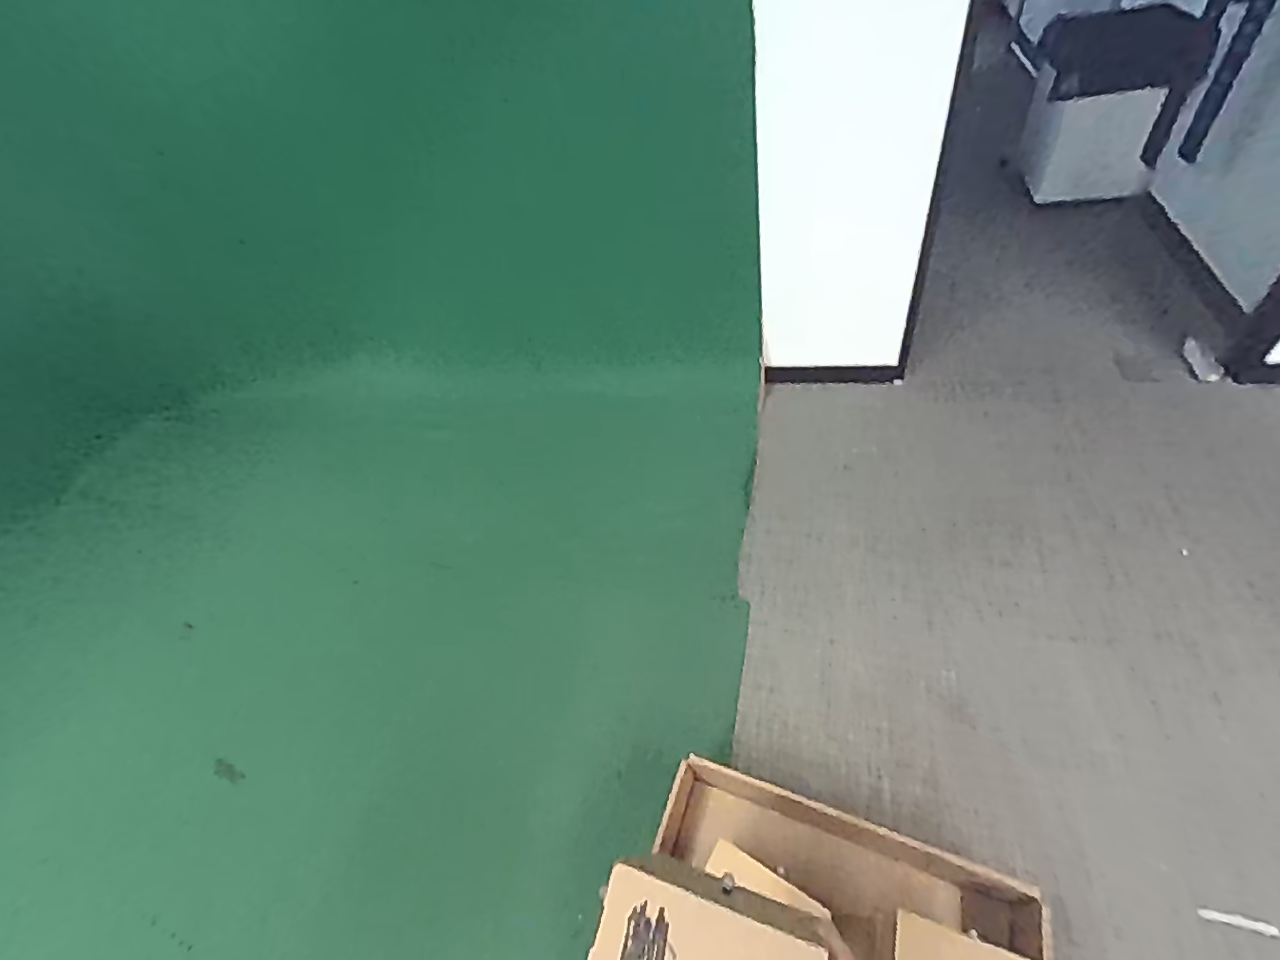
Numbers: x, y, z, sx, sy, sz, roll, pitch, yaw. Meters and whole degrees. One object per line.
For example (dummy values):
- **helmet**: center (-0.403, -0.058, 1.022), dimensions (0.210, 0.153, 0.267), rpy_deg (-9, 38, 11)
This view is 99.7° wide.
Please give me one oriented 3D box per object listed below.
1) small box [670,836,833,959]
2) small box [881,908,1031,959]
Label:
- **small box**: center (0.167, 0.679, 0.808), dimensions (0.179, 0.176, 0.168), rpy_deg (21, 57, 27)
- **small box**: center (0.421, 0.702, 0.715), dimensions (0.179, 0.176, 0.168), rpy_deg (8, 52, 23)
